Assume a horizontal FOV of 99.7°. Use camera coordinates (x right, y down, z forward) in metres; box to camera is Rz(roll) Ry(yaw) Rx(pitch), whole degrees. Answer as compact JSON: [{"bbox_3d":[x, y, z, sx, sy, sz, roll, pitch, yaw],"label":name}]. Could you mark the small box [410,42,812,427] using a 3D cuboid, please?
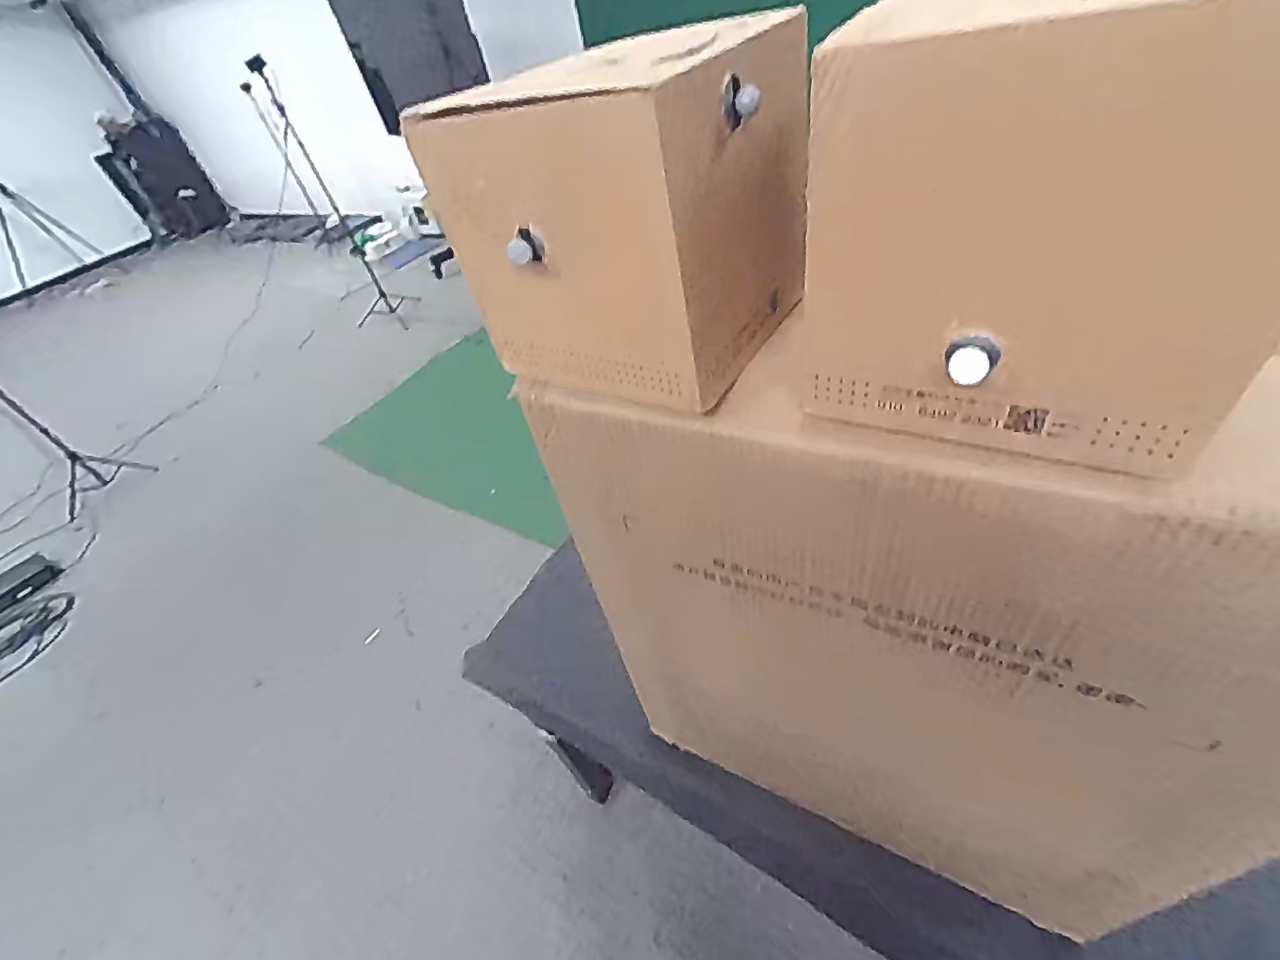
[{"bbox_3d":[-0.003,-0.156,0.355,0.179,0.176,0.168,18,52,30],"label":"small box"}]
